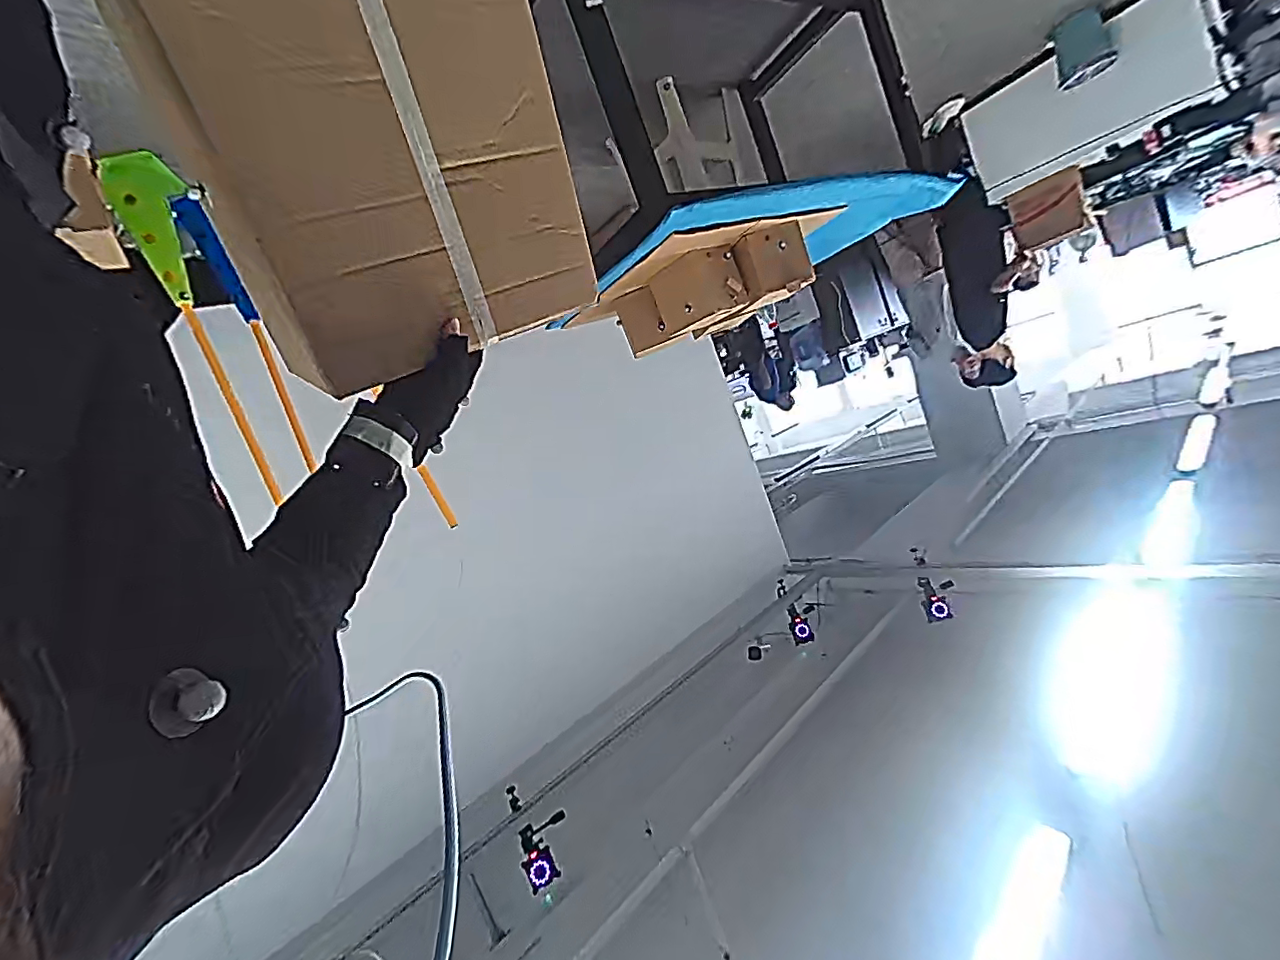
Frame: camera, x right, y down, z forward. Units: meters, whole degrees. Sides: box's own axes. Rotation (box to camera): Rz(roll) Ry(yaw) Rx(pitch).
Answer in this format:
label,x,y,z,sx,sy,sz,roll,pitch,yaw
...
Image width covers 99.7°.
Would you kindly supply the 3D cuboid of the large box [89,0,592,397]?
label,x,y,z,sx,sy,sz,roll,pitch,yaw
large box,-0.309,-0.349,0.603,0.320,0.408,0.320,-30,-149,-29
